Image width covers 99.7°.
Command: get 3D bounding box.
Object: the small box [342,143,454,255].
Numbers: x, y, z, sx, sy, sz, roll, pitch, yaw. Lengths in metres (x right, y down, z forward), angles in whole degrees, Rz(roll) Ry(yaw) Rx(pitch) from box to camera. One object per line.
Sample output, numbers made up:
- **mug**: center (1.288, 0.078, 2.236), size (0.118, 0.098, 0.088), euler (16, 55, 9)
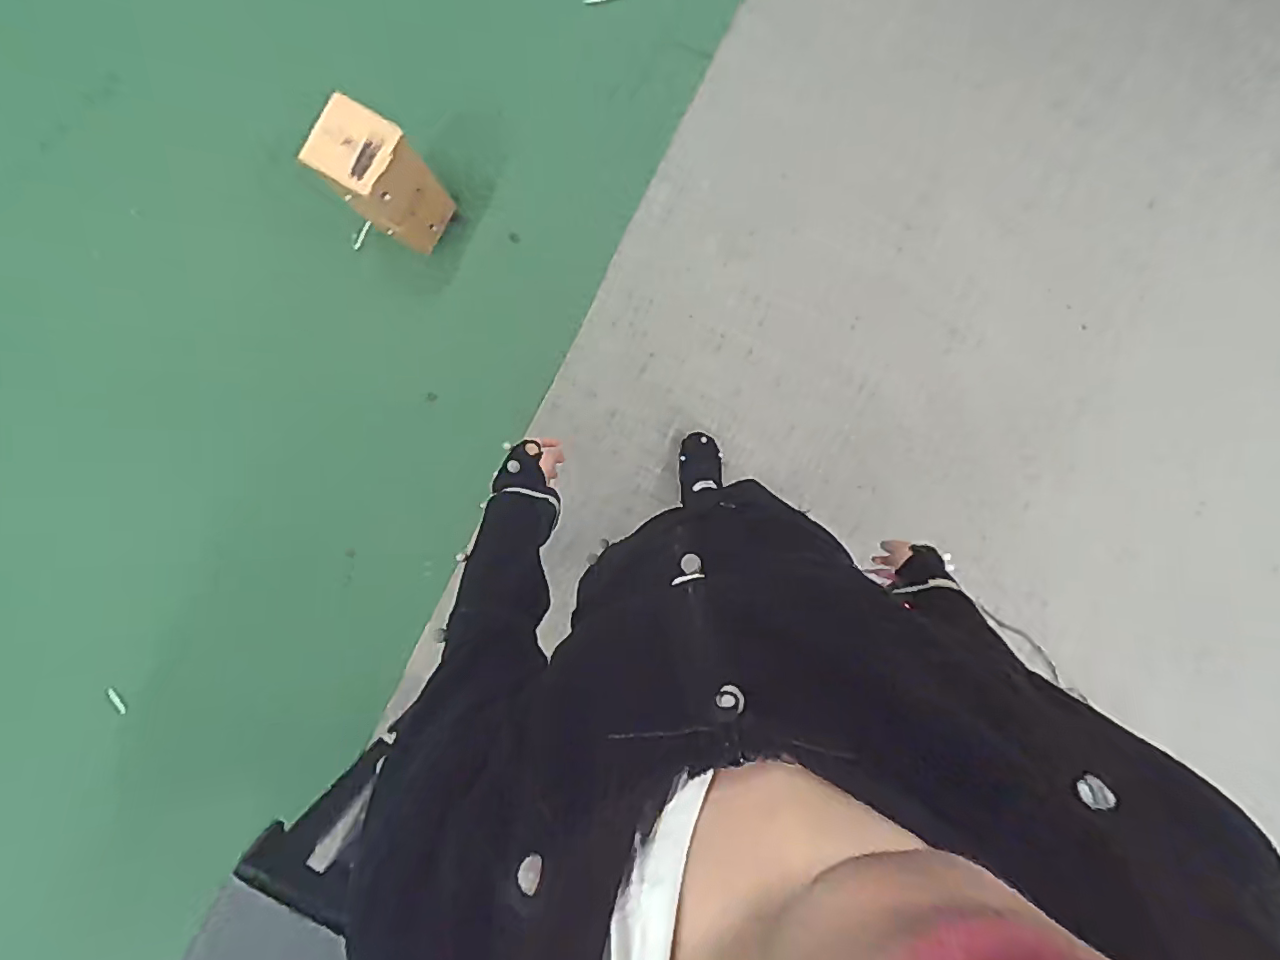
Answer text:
- **small box**: center (-0.624, -0.724, 1.416), size (0.179, 0.176, 0.168), euler (30, 91, 0)
